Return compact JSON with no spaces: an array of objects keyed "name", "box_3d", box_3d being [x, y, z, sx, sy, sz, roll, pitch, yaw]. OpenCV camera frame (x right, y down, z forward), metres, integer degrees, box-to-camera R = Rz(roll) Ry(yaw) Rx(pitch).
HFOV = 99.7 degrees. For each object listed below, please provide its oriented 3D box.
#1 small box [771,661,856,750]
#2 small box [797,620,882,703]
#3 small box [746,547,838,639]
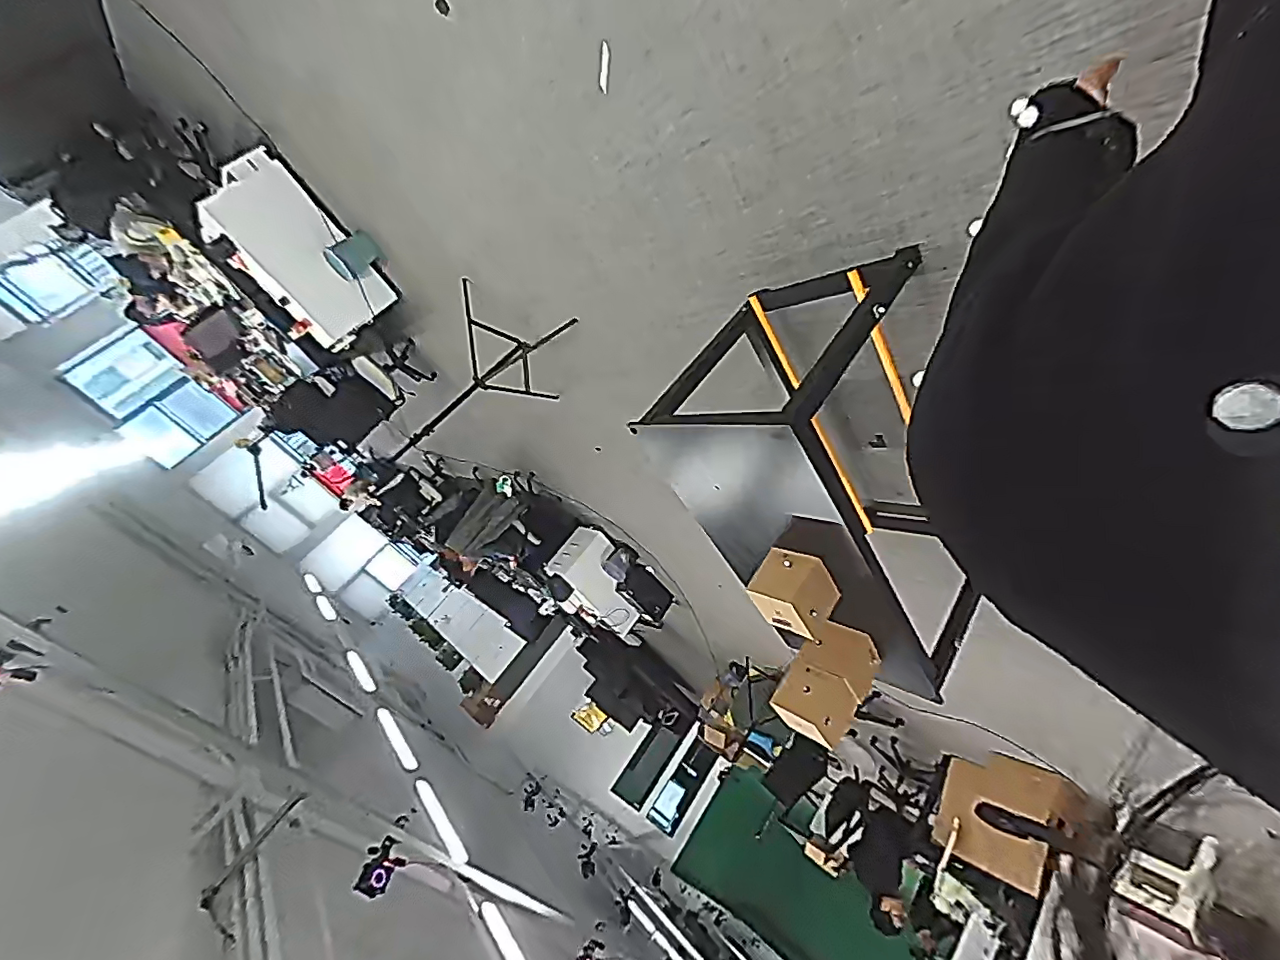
[{"name":"small box","box_3d":[0.547,0.698,1.693,0.168,0.176,0.179,12,146,51]},{"name":"small box","box_3d":[0.647,0.578,1.747,0.179,0.176,0.168,9,144,50]},{"name":"small box","box_3d":[0.449,0.326,1.579,0.168,0.176,0.179,8,141,52]}]
